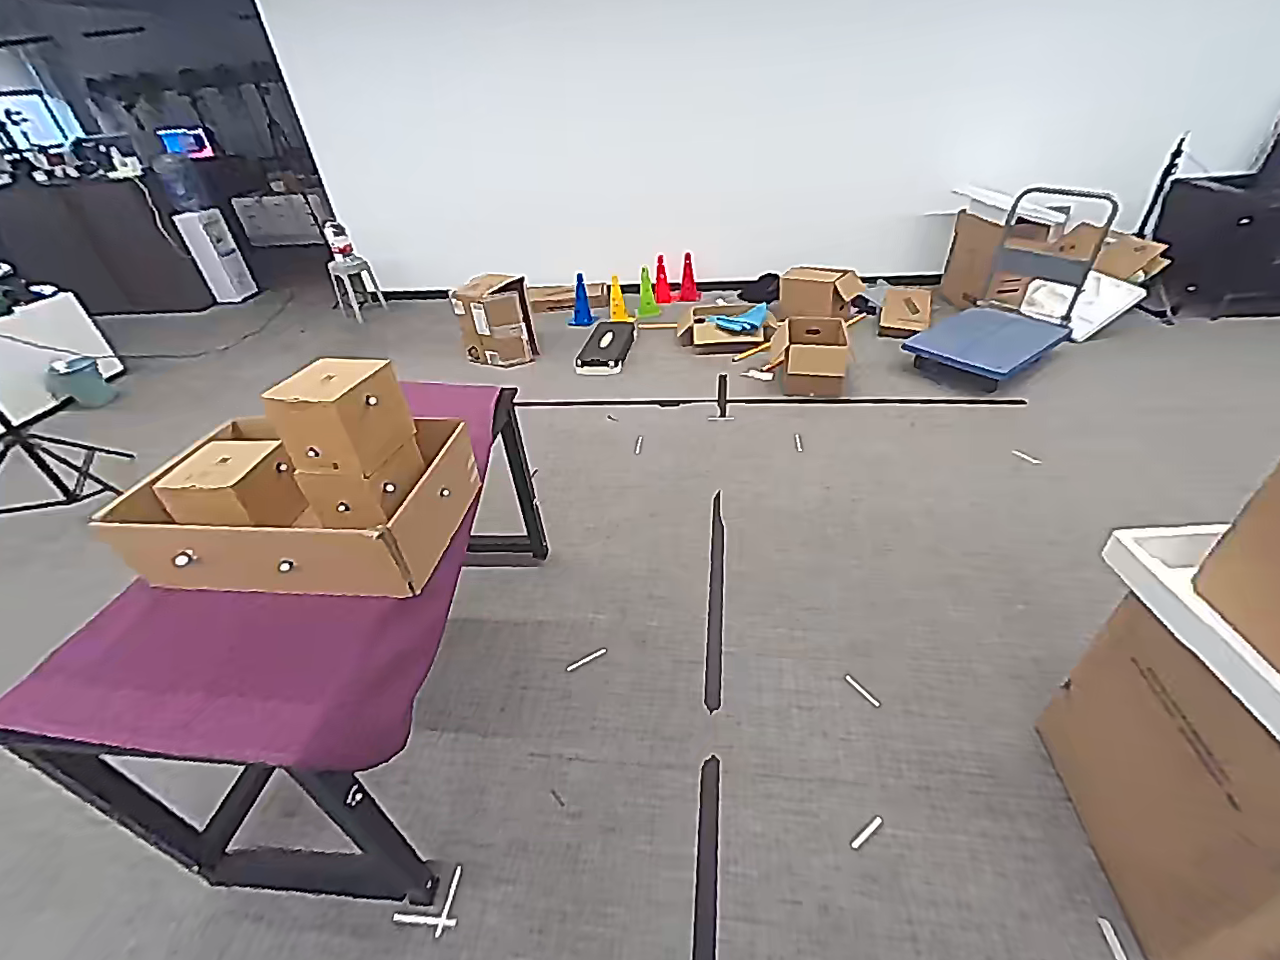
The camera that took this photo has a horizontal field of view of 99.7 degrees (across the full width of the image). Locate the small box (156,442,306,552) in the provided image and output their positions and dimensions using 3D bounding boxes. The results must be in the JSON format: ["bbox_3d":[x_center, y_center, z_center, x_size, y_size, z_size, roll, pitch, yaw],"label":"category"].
[{"bbox_3d":[-0.855,0.034,1.158,0.168,0.176,0.179,-1,36,4],"label":"small box"}]

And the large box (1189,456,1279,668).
[{"bbox_3d":[1.216,0.190,0.818,0.320,0.320,0.408,-1,35,4],"label":"large box"}]
